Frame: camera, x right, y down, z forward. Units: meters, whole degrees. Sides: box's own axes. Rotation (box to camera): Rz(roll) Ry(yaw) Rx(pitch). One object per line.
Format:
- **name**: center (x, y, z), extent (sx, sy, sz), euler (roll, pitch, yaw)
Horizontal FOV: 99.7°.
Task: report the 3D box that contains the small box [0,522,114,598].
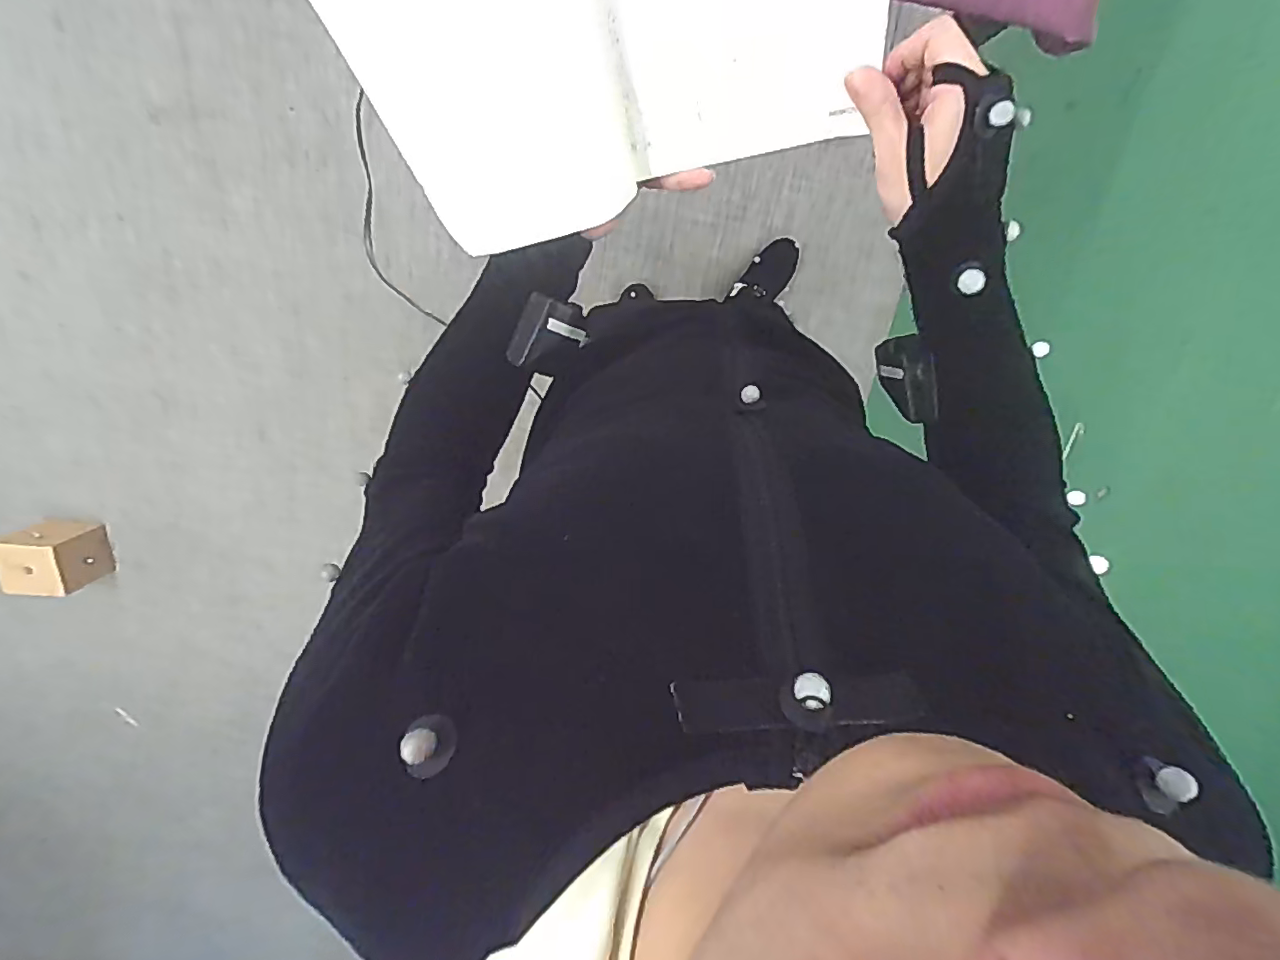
- **small box**: center (-1.743, 0.236, 1.625), extent (0.179, 0.176, 0.168), euler (5, 108, -2)
